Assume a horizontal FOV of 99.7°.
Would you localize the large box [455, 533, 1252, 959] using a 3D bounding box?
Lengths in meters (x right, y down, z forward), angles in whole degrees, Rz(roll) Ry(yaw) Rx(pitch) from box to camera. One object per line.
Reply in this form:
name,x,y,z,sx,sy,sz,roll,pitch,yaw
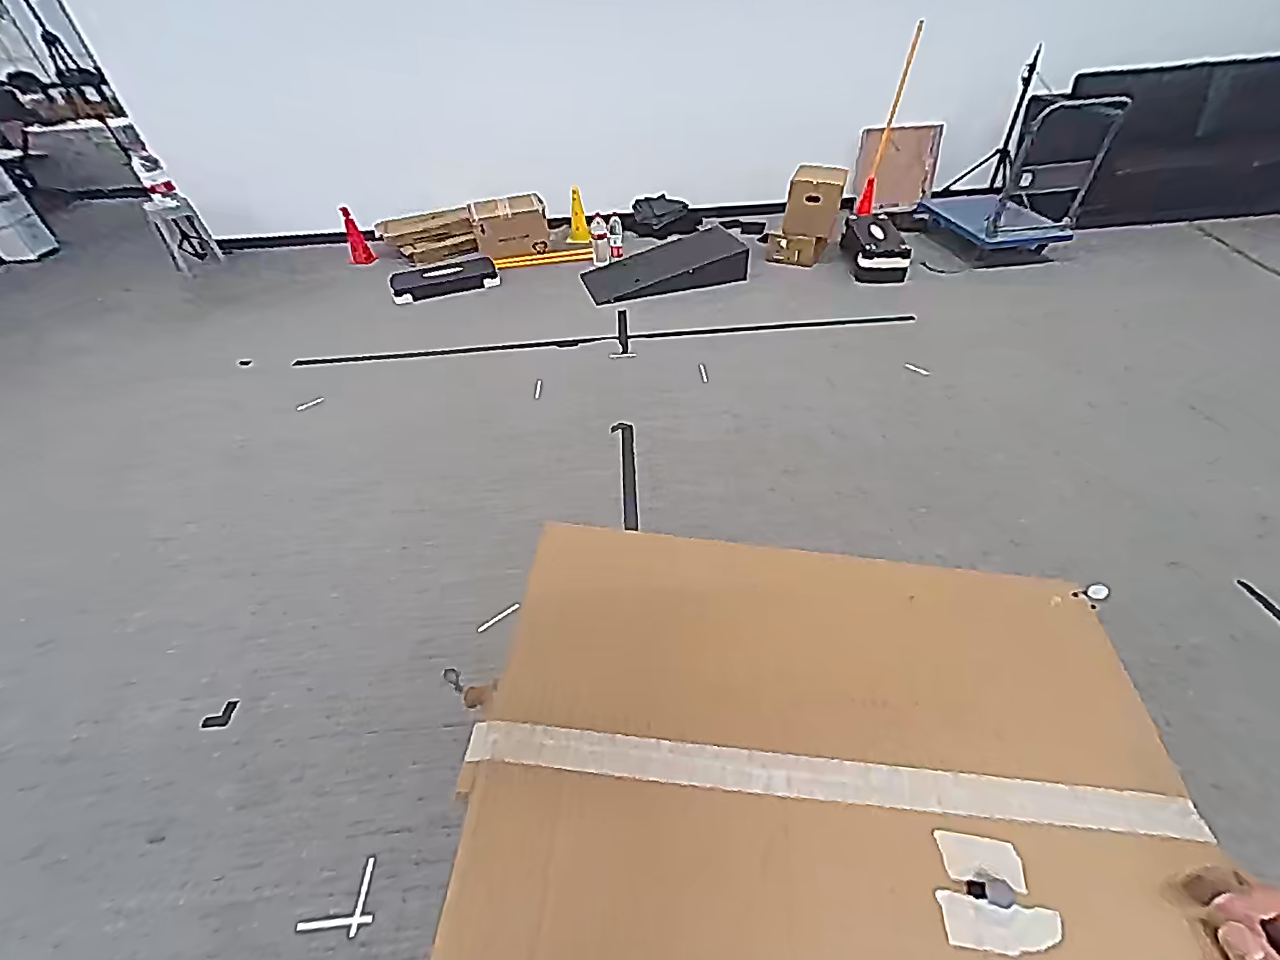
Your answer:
large box,0.104,0.272,0.427,0.408,0.320,0.320,7,49,0
